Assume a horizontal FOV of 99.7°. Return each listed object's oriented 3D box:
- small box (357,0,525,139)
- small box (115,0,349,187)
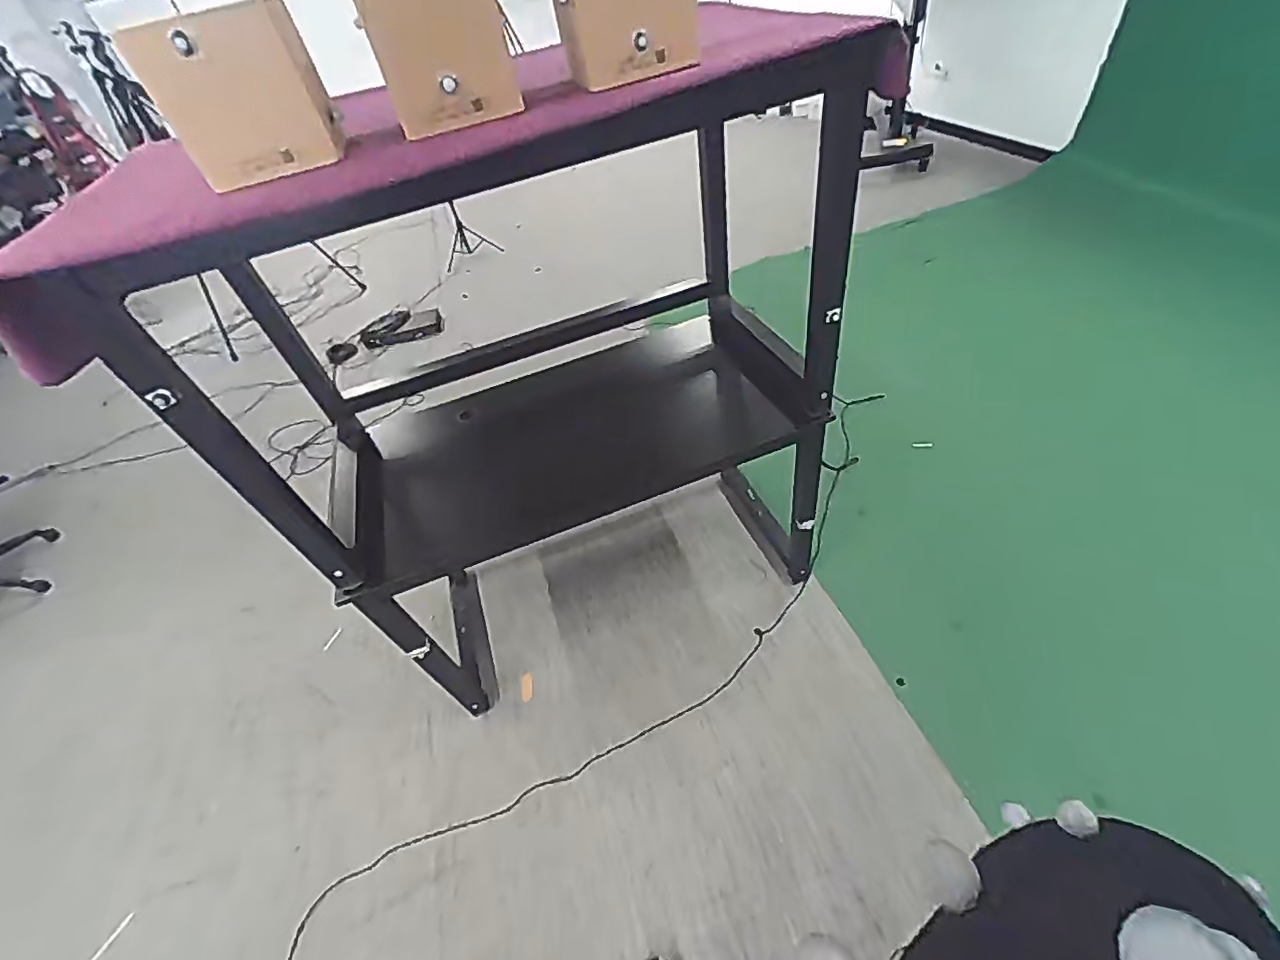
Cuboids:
[{"bbox_3d":[-0.270,-0.590,0.741,0.168,0.176,0.179,-19,46,-7],"label":"small box"},{"bbox_3d":[-0.506,-0.505,0.708,0.168,0.176,0.179,-20,44,-7],"label":"small box"}]
